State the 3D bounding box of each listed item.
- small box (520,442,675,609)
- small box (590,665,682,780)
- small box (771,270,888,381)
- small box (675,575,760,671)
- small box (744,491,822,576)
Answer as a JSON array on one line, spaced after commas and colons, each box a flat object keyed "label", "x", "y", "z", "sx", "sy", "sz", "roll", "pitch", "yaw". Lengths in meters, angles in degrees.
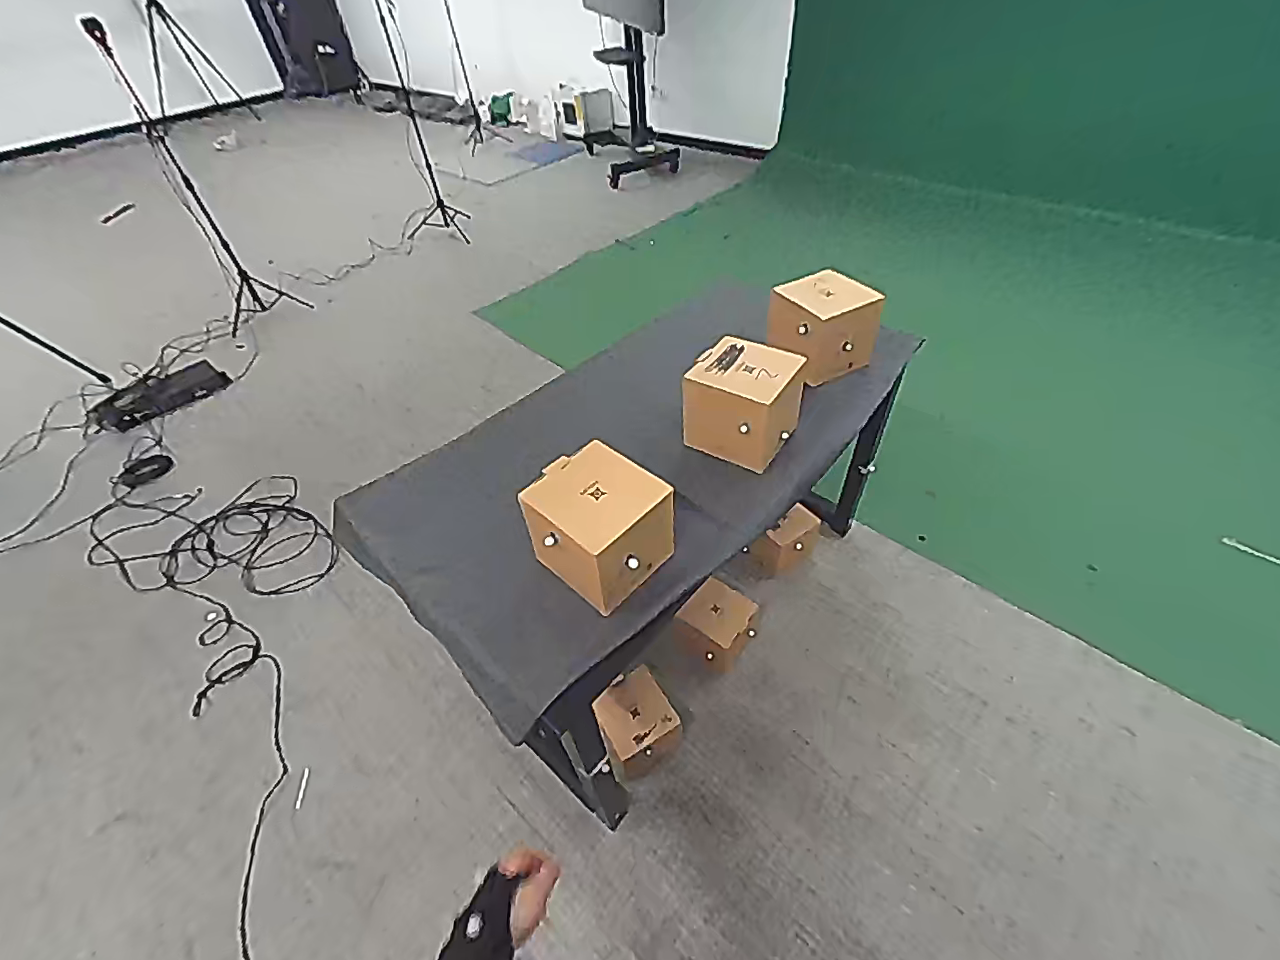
[{"label": "small box", "x": -0.059, "y": 0.077, "z": 0.857, "sx": 0.179, "sy": 0.176, "sz": 0.168, "roll": 33, "pitch": 57, "yaw": 30}, {"label": "small box", "x": -0.009, "y": 0.608, "z": 1.355, "sx": 0.168, "sy": 0.176, "sz": 0.179, "roll": -25, "pitch": 49, "yaw": -18}, {"label": "small box", "x": 0.413, "y": -0.339, "z": 1.209, "sx": 0.168, "sy": 0.176, "sz": 0.179, "roll": -22, "pitch": 46, "yaw": -16}, {"label": "small box", "x": 0.216, "y": 0.410, "z": 1.524, "sx": 0.179, "sy": 0.176, "sz": 0.168, "roll": 29, "pitch": 54, "yaw": 29}, {"label": "small box", "x": 0.449, "y": 0.175, "z": 1.728, "sx": 0.179, "sy": 0.176, "sz": 0.168, "roll": -28, "pitch": 51, "yaw": -22}]
